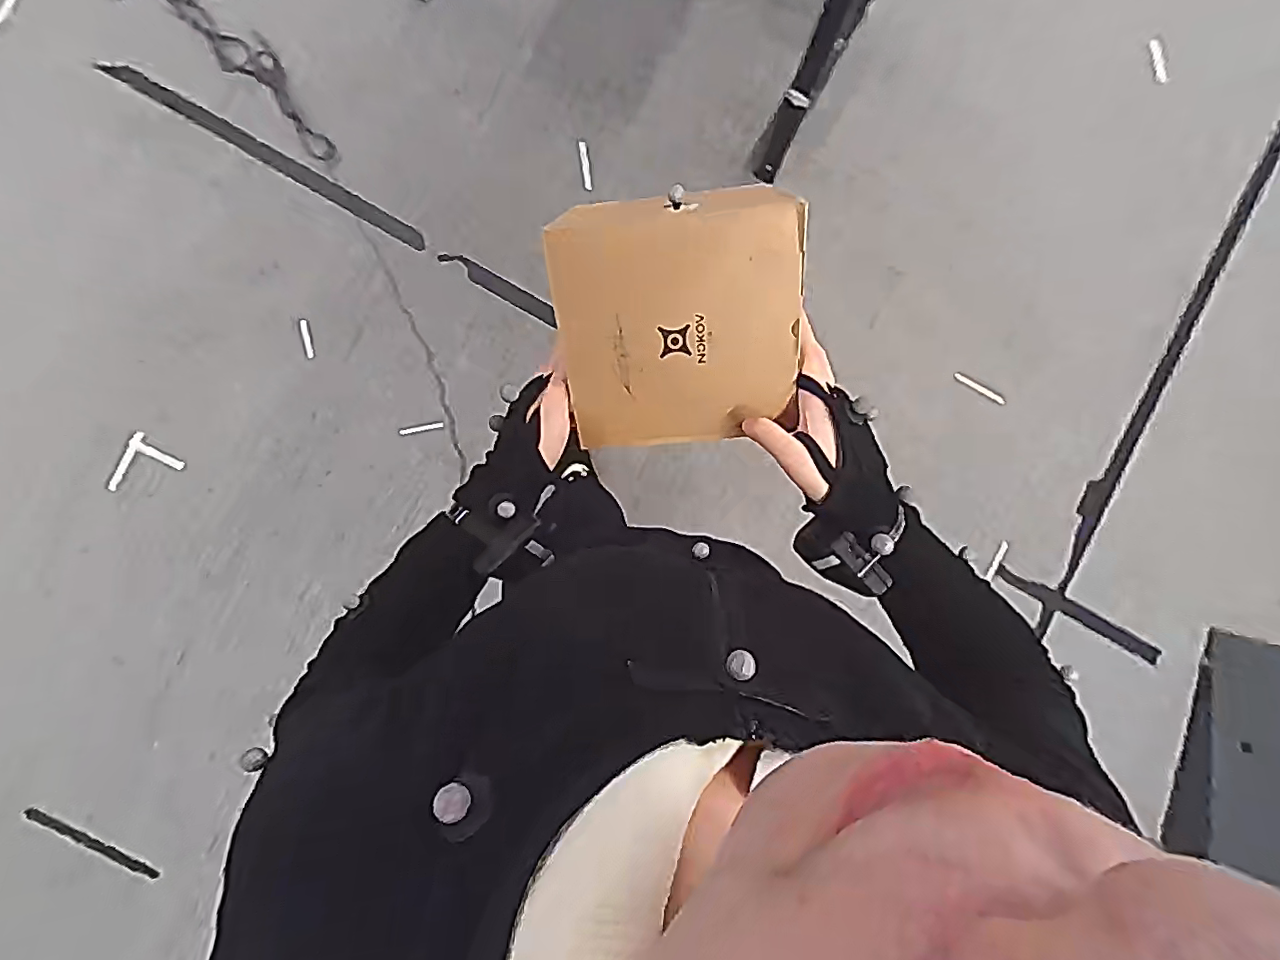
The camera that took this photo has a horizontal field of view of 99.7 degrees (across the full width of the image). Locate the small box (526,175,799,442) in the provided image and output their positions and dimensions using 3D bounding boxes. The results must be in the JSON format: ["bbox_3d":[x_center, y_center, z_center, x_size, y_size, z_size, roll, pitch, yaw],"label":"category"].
[{"bbox_3d":[0.021,-0.148,0.446,0.179,0.176,0.168,-5,121,5],"label":"small box"}]
